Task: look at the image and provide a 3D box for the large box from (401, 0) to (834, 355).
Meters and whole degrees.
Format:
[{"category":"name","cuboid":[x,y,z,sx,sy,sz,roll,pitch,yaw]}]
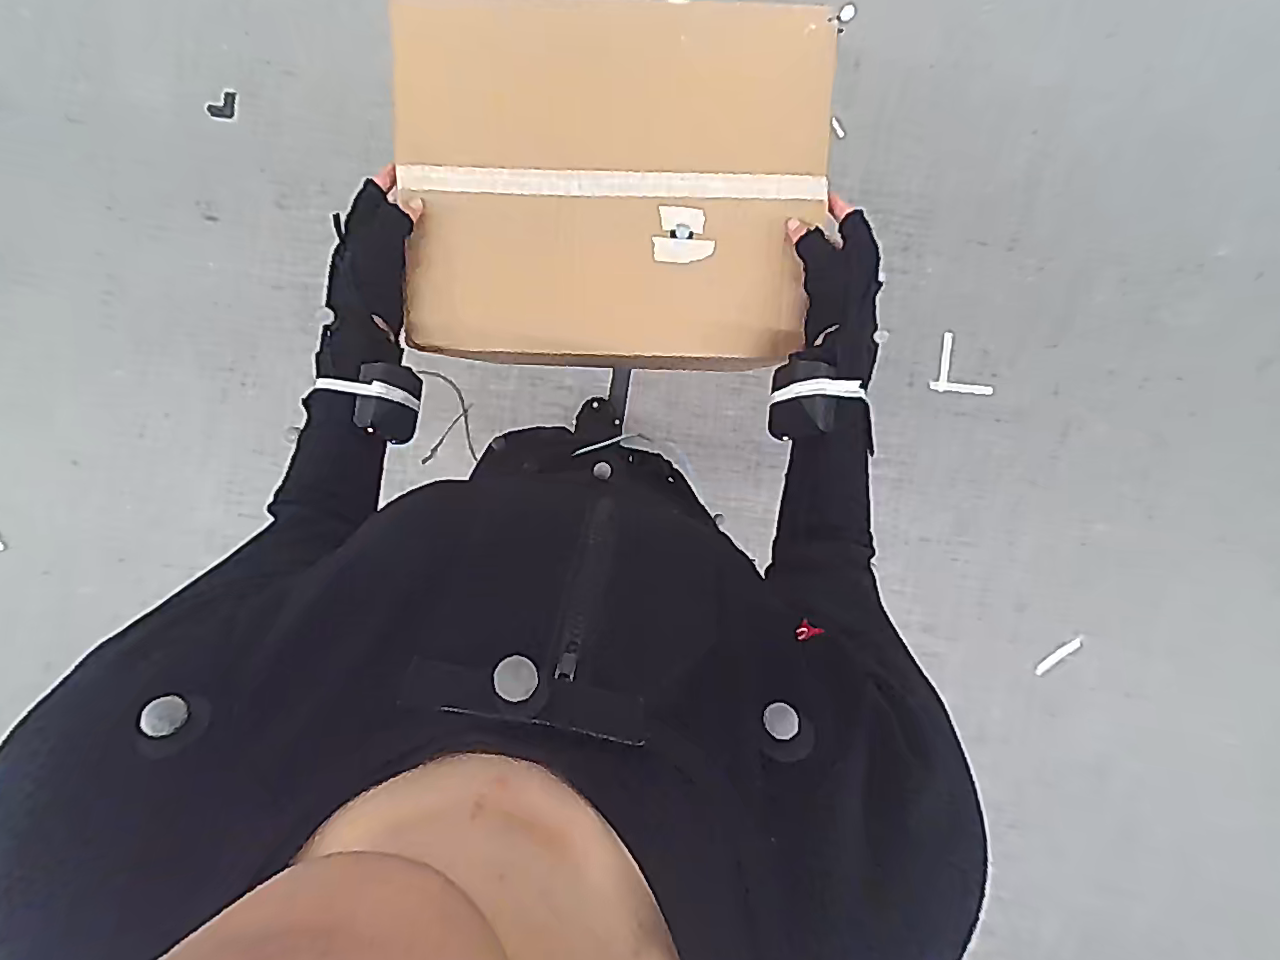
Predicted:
[{"category":"large box","cuboid":[-0.026,-0.322,0.662,0.408,0.320,0.320,1,100,-2]}]
